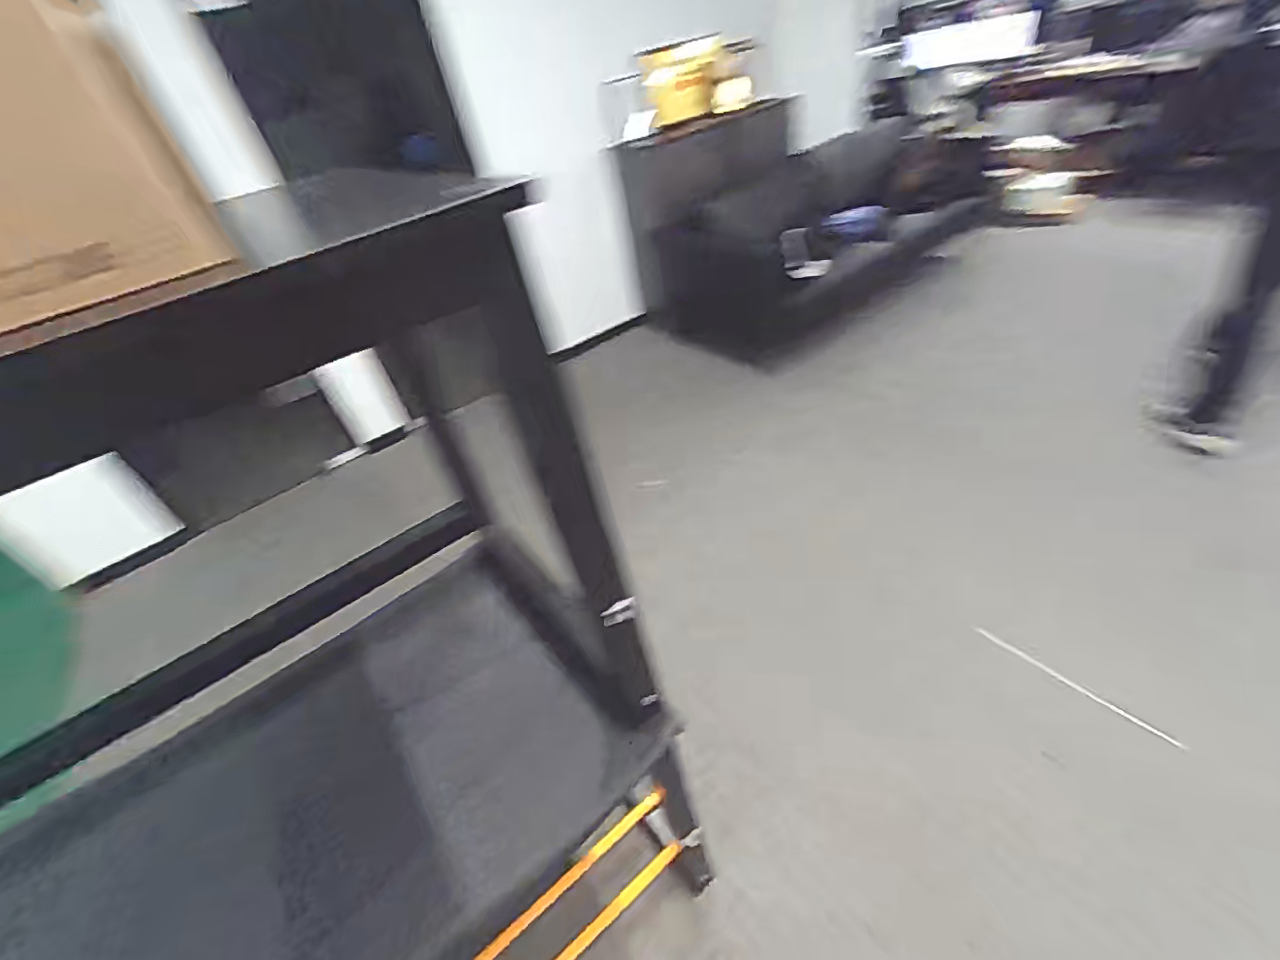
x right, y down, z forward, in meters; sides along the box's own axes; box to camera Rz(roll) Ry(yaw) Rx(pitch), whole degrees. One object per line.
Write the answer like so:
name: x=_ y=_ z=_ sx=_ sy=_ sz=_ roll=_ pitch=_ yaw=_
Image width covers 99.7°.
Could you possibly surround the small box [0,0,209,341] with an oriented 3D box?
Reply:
small box: x=-0.393 y=-0.181 z=0.315 sx=0.168 sy=0.176 sz=0.179 roll=-32 pitch=41 yaw=-23
